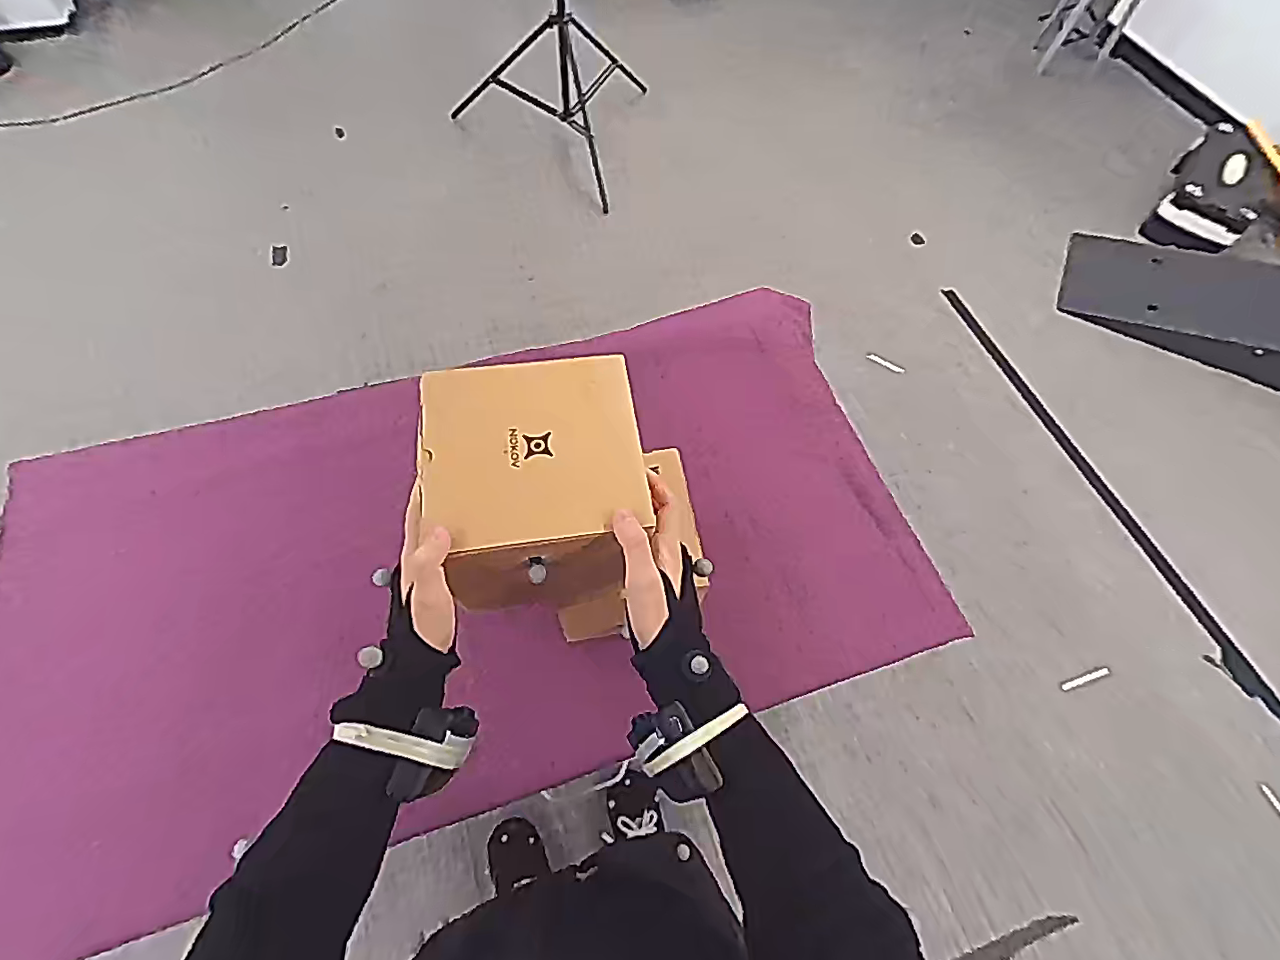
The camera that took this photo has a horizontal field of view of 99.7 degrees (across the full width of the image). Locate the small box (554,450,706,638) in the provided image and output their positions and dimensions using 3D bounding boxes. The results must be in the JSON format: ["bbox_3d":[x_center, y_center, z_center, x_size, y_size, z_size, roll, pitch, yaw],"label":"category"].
[{"bbox_3d":[-0.026,0.085,0.681,0.168,0.176,0.179,-7,64,-6],"label":"small box"}]

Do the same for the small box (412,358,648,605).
[{"bbox_3d":[-0.097,0.010,0.502,0.179,0.176,0.168,-7,65,-7],"label":"small box"}]
